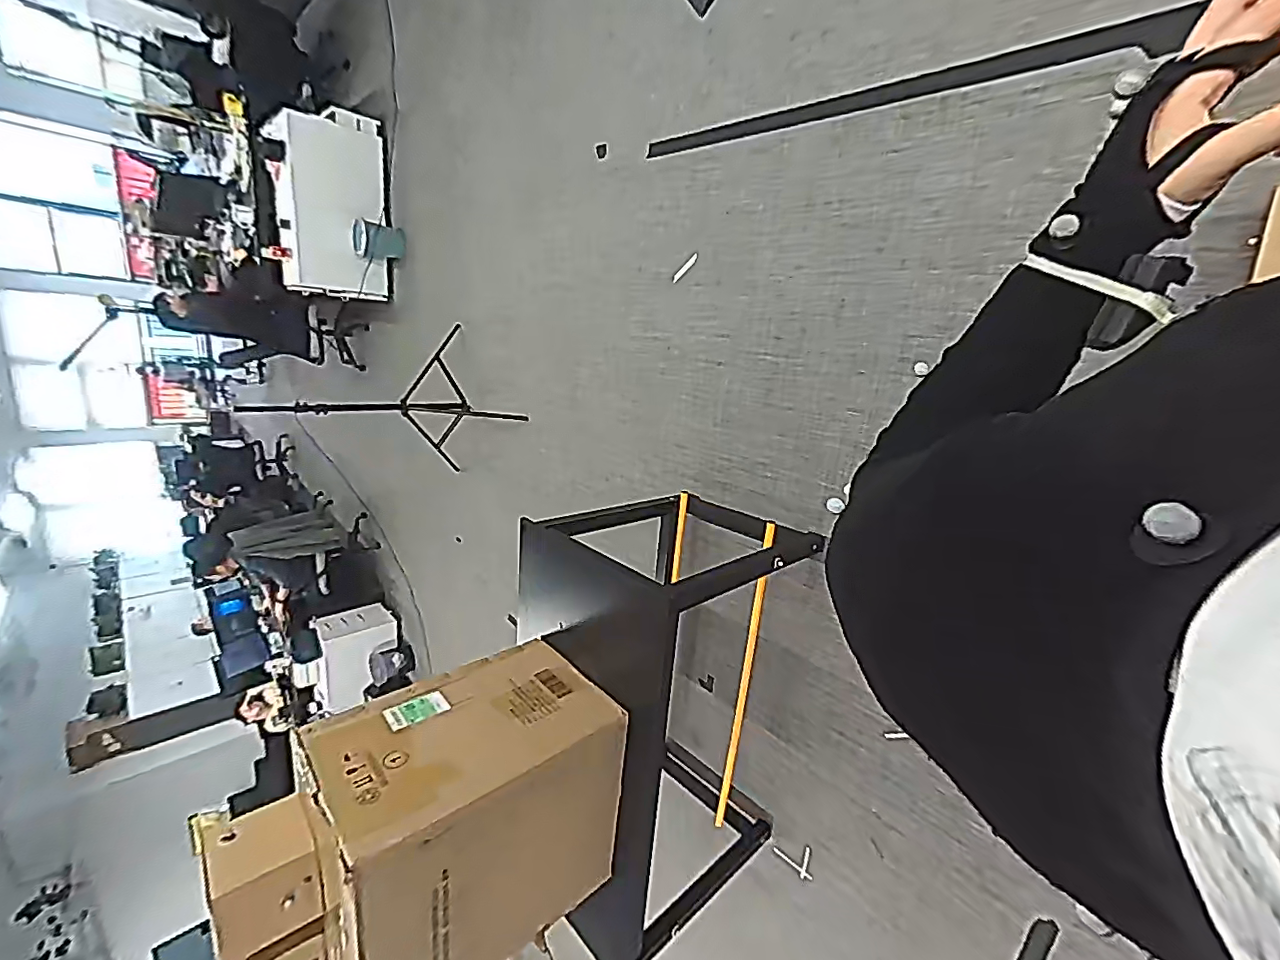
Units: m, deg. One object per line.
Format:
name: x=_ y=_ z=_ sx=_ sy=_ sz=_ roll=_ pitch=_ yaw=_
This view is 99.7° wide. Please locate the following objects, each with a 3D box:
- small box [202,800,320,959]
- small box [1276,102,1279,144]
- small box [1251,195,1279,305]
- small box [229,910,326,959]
small box: x=-0.744 y=0.772 z=1.065 sx=0.179 sy=0.176 sz=0.168 roll=18 pitch=110 yaw=46
small box: x=0.444 y=-0.274 z=0.246 sx=0.179 sy=0.176 sz=0.168 roll=10 pitch=109 yaw=41
small box: x=1.127 y=-0.383 z=0.872 sx=0.168 sy=0.176 sz=0.179 roll=15 pitch=109 yaw=45
small box: x=-0.769 y=0.989 z=1.130 sx=0.179 sy=0.176 sz=0.168 roll=15 pitch=106 yaw=45
